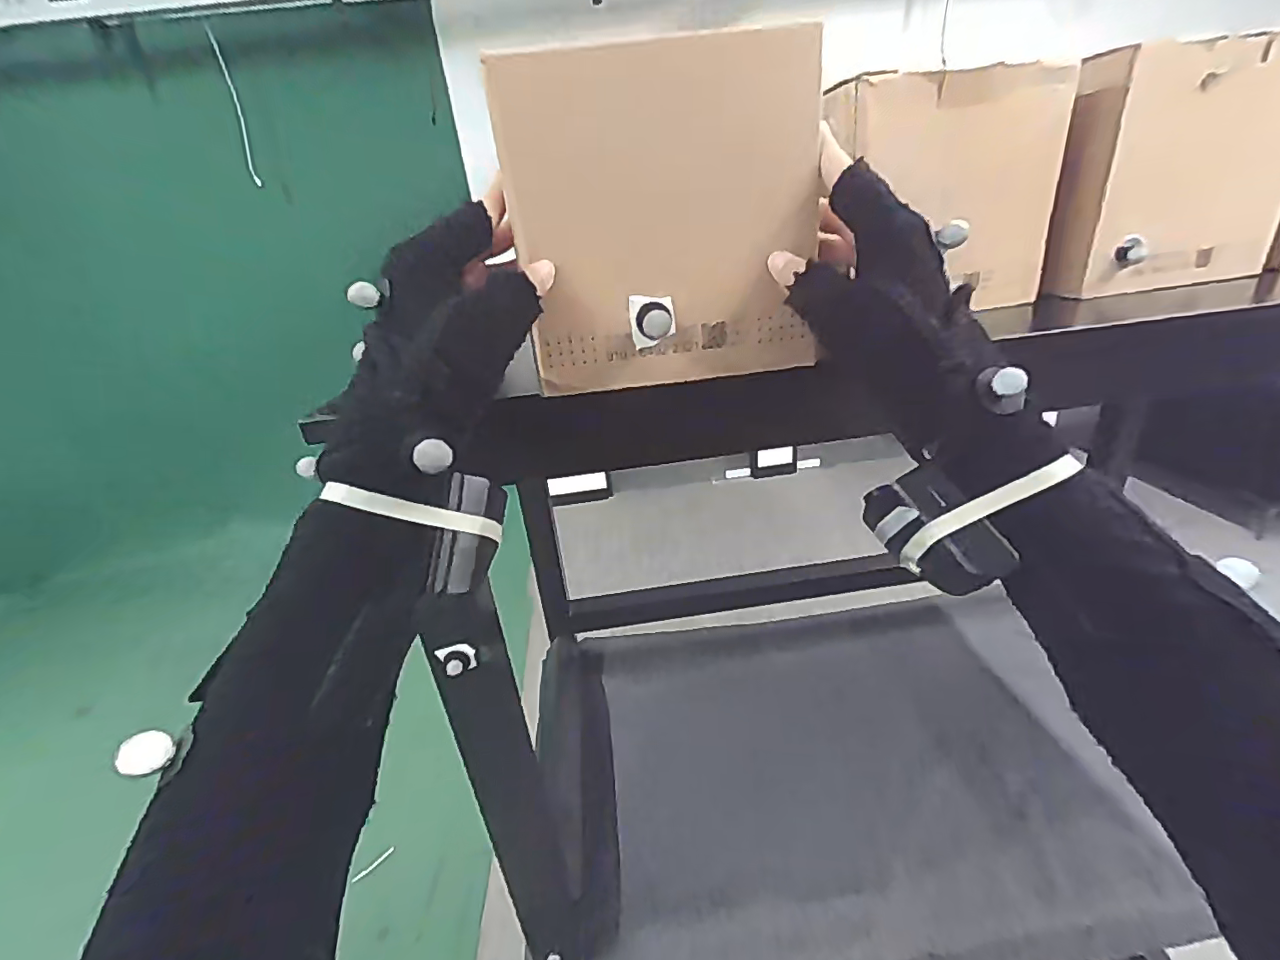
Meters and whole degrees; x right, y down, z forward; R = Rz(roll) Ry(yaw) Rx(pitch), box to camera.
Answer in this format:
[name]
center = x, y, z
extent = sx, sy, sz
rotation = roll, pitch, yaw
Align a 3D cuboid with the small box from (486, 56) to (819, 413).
[small box]
center = 0.007, -0.155, 0.369
extent = 0.168, 0.176, 0.179
rotation = -9, 25, -3
